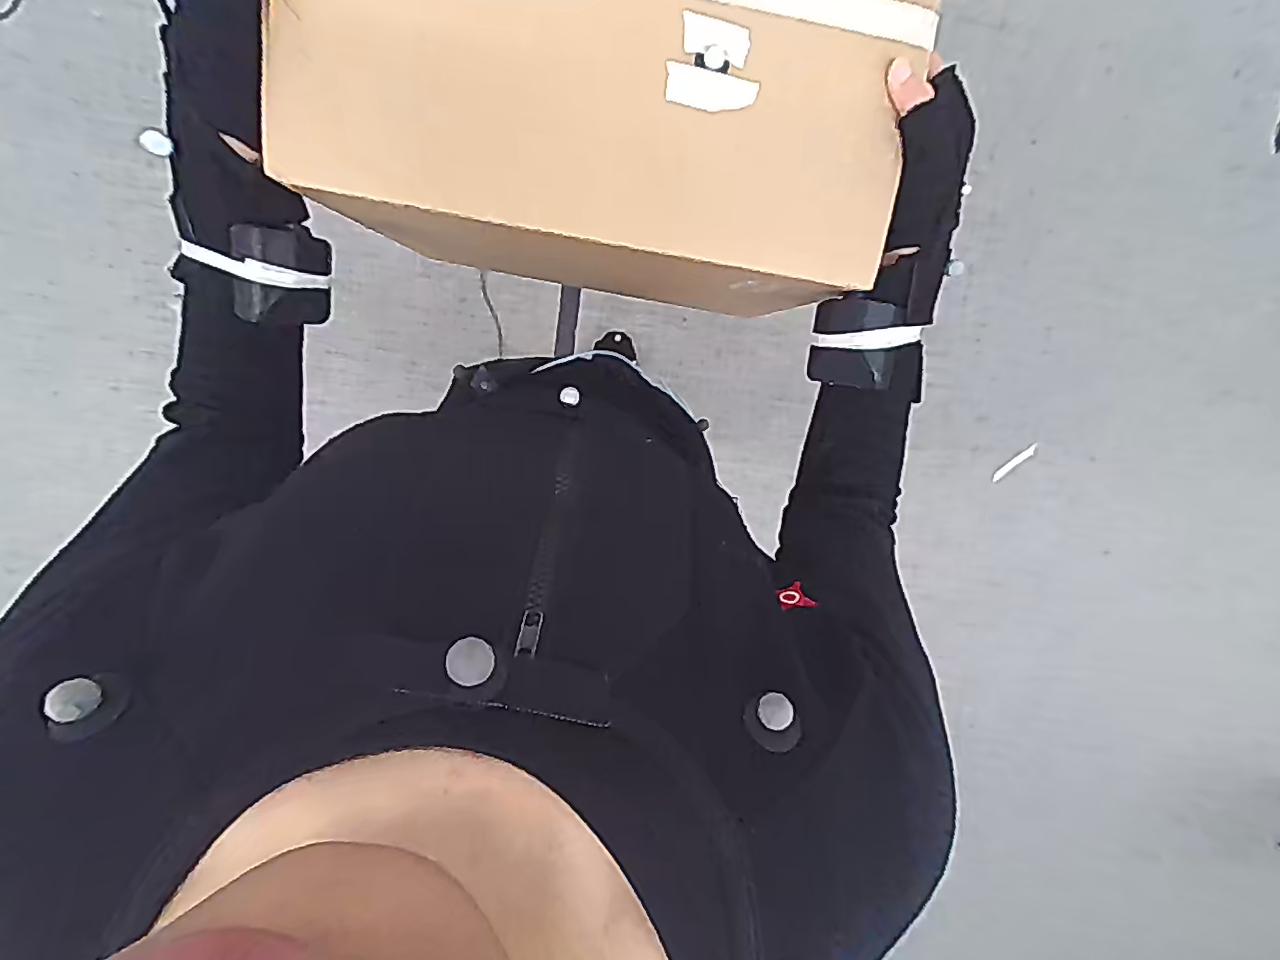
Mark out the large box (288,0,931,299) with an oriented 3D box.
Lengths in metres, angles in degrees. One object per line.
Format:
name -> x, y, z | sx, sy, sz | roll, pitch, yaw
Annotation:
large box -> -0.020, -0.359, 0.477 | 0.408, 0.320, 0.320 | 8, 104, -6
